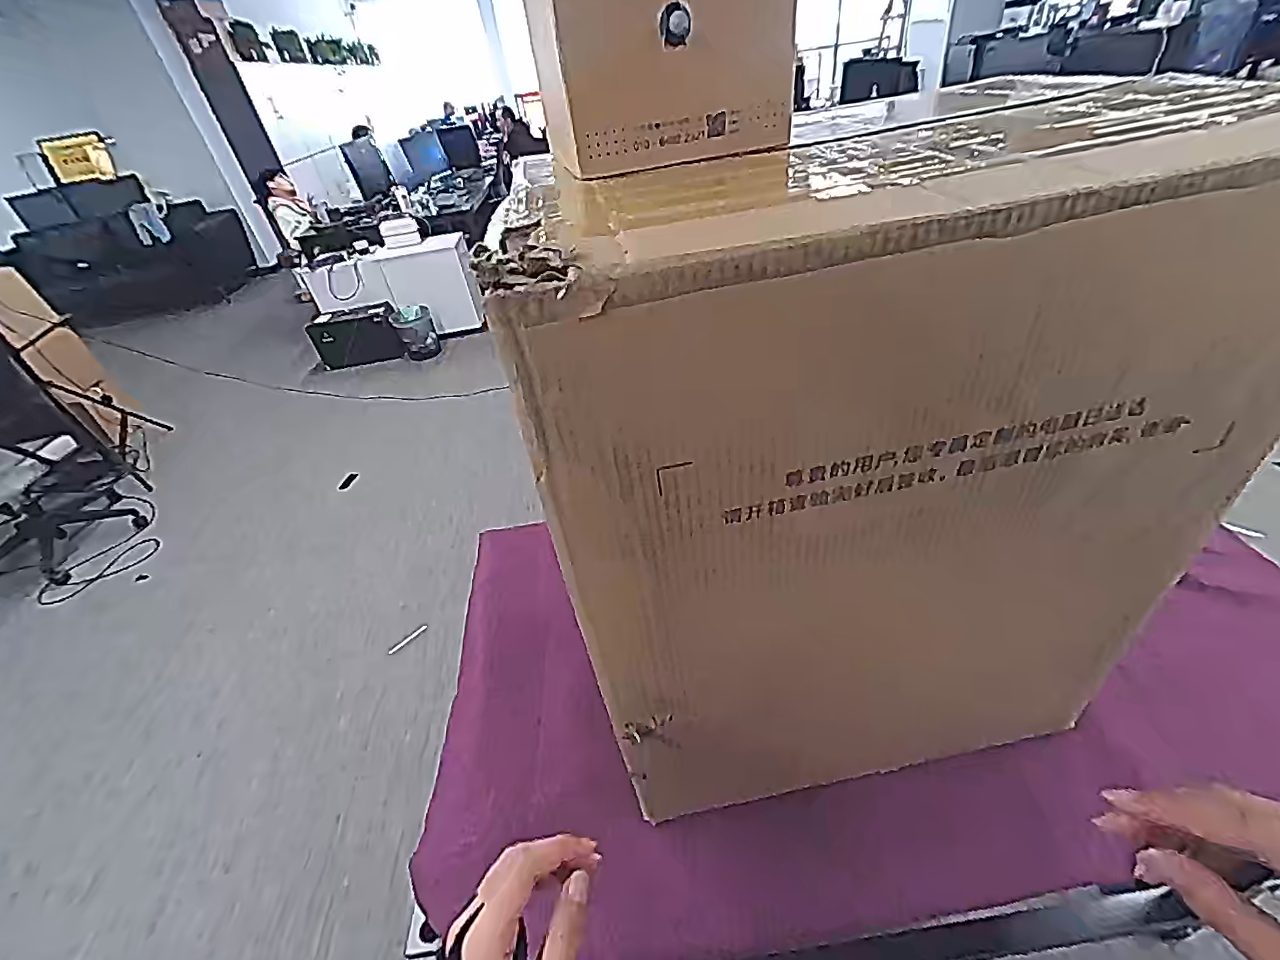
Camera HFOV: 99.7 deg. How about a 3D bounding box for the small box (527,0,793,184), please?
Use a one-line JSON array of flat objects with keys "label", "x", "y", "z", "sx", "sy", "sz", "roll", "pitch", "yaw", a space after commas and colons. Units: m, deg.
[{"label": "small box", "x": 0.010, "y": -0.339, "z": 0.417, "sx": 0.168, "sy": 0.176, "sz": 0.179, "roll": -13, "pitch": 38, "yaw": -8}]
